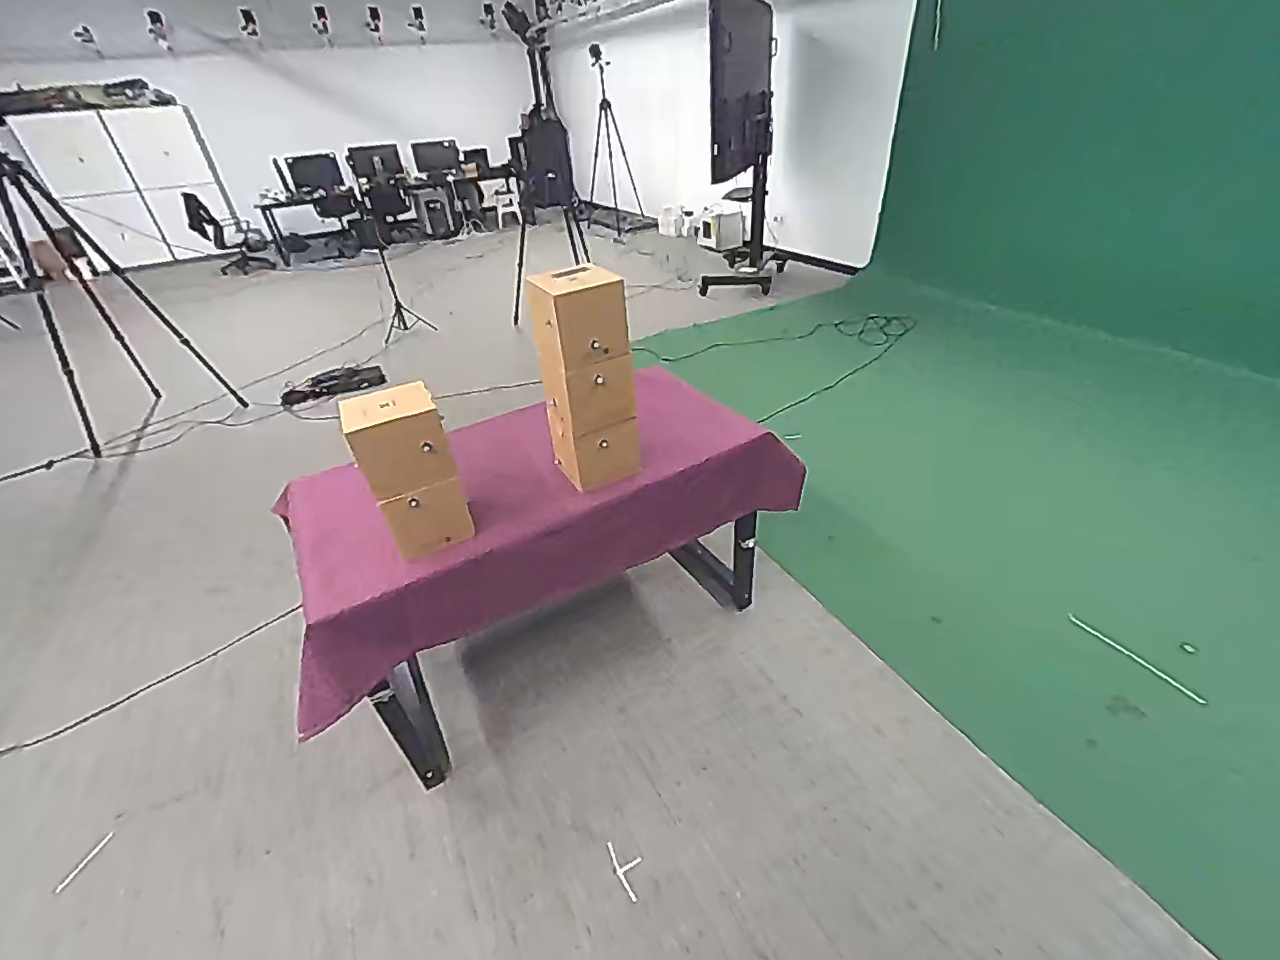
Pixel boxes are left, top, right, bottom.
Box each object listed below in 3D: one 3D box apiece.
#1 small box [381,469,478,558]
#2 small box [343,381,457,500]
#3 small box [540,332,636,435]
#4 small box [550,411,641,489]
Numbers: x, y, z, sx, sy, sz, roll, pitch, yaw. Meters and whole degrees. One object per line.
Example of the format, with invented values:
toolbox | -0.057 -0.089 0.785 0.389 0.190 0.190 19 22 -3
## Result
small box | -0.489 0.048 1.239 0.168 0.176 0.179 -21 38 -20
small box | -0.502 -0.085 1.145 0.179 0.176 0.168 -21 38 -19
small box | -0.120 -0.233 1.302 0.179 0.176 0.168 -23 39 -21
small box | -0.110 -0.100 1.395 0.179 0.176 0.168 -21 38 -22
